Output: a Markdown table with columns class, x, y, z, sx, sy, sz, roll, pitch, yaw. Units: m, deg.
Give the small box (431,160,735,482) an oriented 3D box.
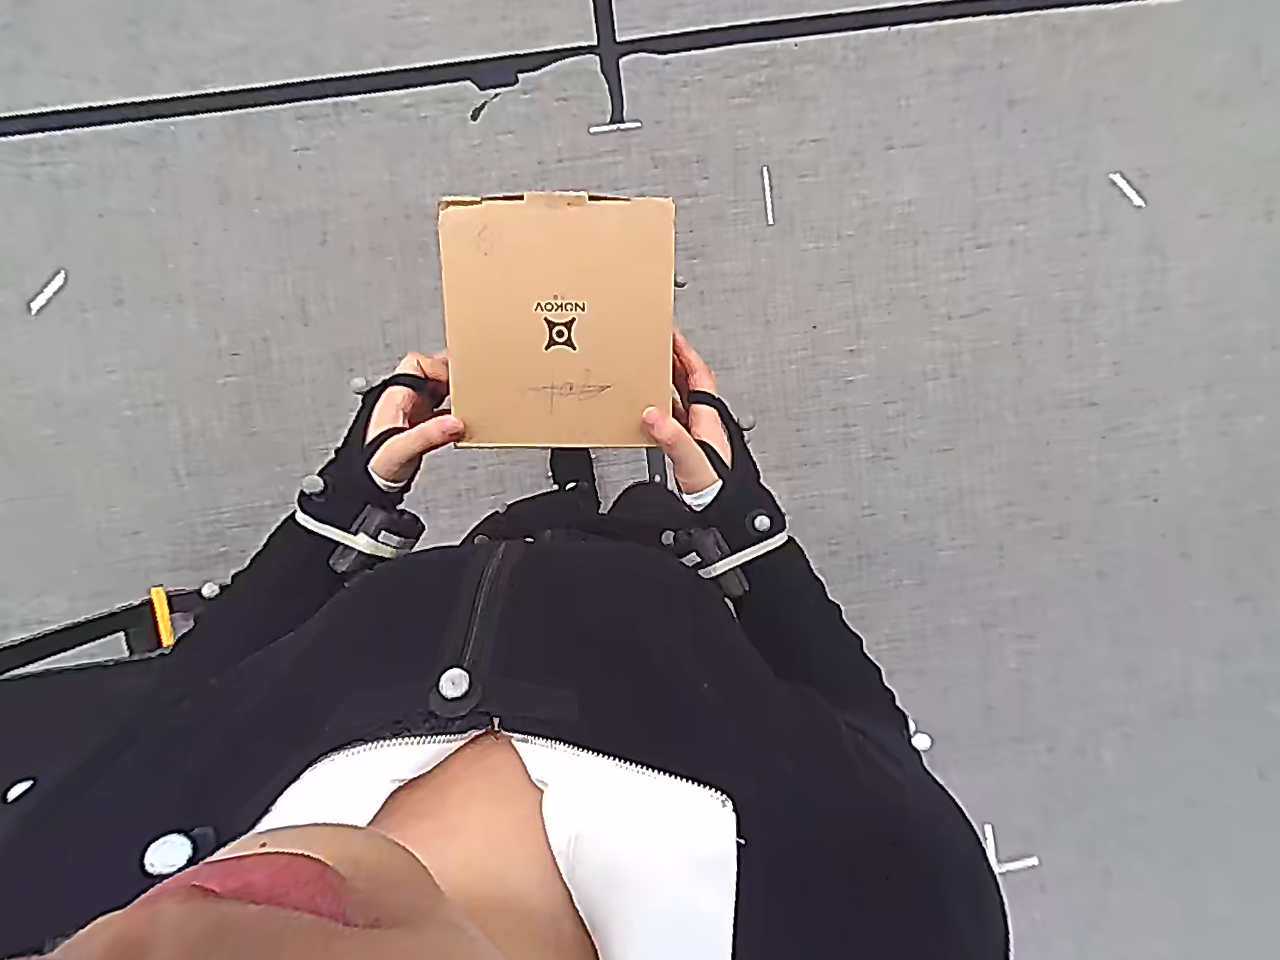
| class | x | y | z | sx | sy | sz | roll | pitch | yaw |
| --- | --- | --- | --- | --- | --- | --- | --- | --- | --- |
| small box | -0.033 | -0.101 | 0.383 | 0.168 | 0.176 | 0.179 | 0 | 103 | -1 |
